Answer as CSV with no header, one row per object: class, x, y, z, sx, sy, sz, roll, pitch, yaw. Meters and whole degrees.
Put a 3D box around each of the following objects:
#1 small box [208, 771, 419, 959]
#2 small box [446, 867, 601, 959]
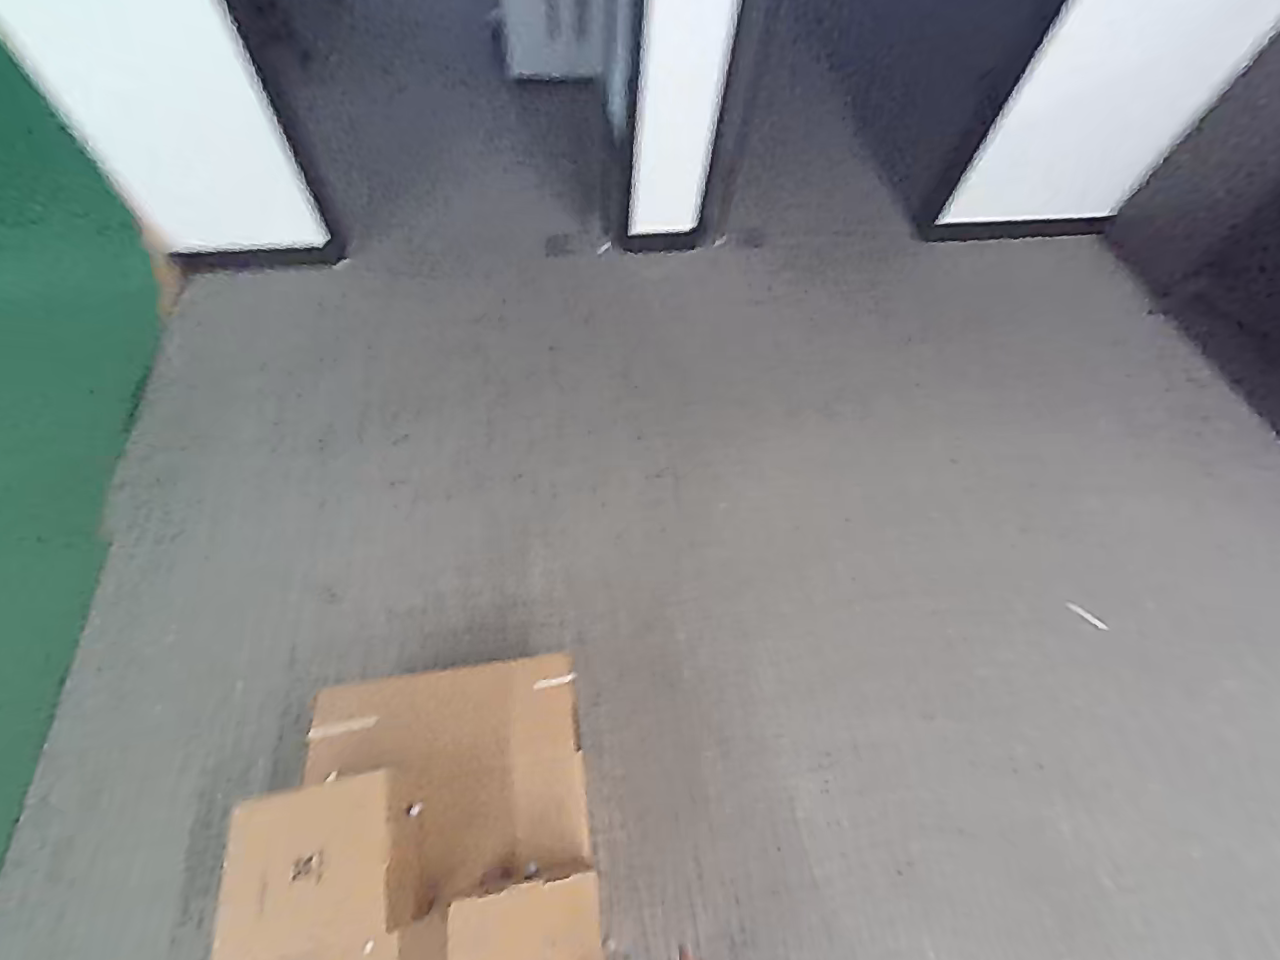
small box,-0.384,0.479,0.676,0.179,0.176,0.168,-9,57,-10
small box,-0.131,0.575,0.636,0.168,0.176,0.179,-5,57,-10
